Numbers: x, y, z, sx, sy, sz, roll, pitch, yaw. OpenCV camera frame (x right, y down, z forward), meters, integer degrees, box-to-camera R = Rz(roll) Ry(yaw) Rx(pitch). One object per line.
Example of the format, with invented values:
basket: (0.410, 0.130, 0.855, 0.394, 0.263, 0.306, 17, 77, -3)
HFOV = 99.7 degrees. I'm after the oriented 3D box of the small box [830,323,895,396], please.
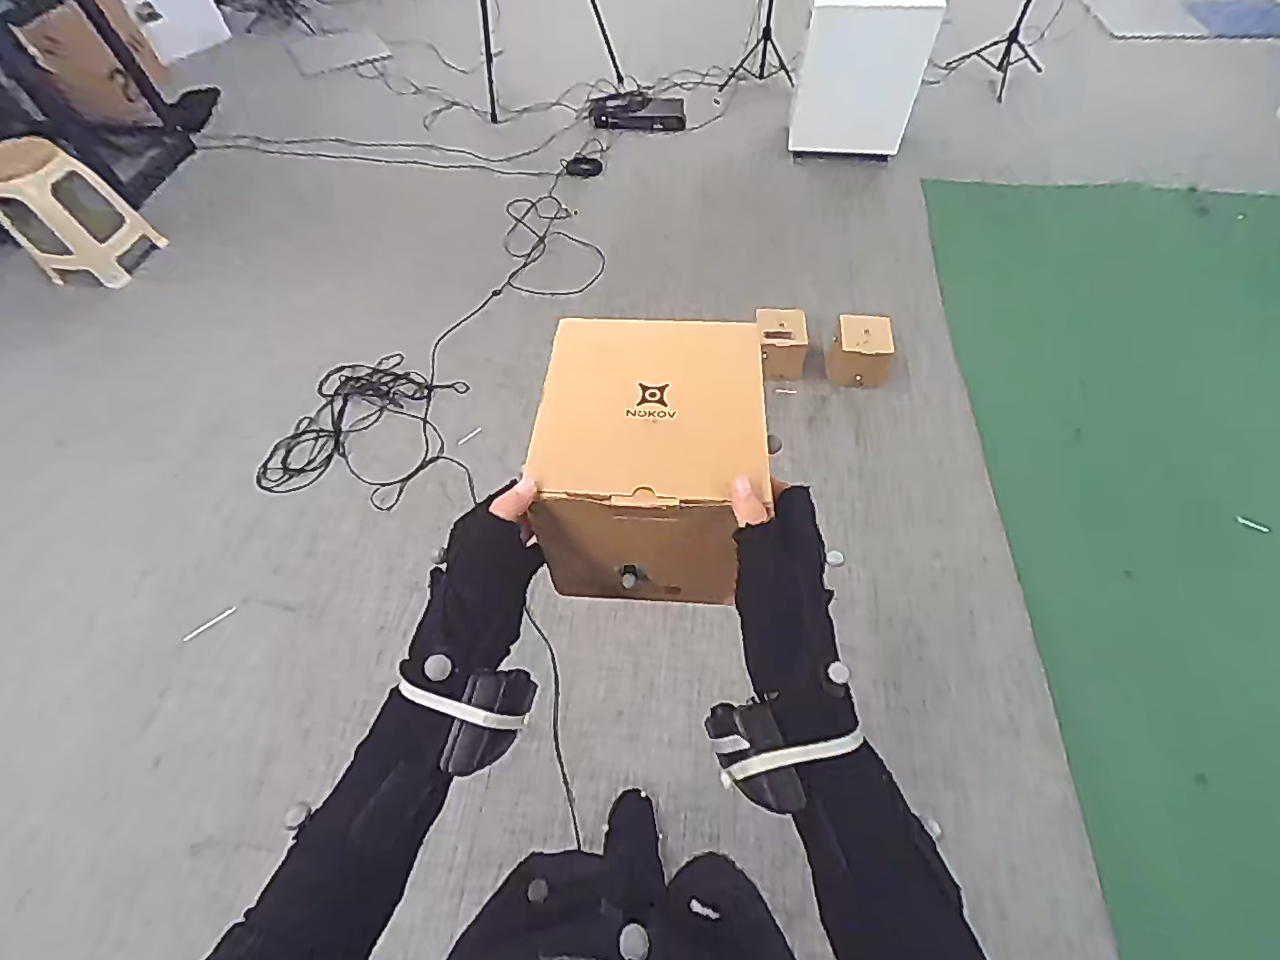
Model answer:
small box: (0.760, -0.414, 1.865, 0.168, 0.176, 0.179, 5, 58, 7)
